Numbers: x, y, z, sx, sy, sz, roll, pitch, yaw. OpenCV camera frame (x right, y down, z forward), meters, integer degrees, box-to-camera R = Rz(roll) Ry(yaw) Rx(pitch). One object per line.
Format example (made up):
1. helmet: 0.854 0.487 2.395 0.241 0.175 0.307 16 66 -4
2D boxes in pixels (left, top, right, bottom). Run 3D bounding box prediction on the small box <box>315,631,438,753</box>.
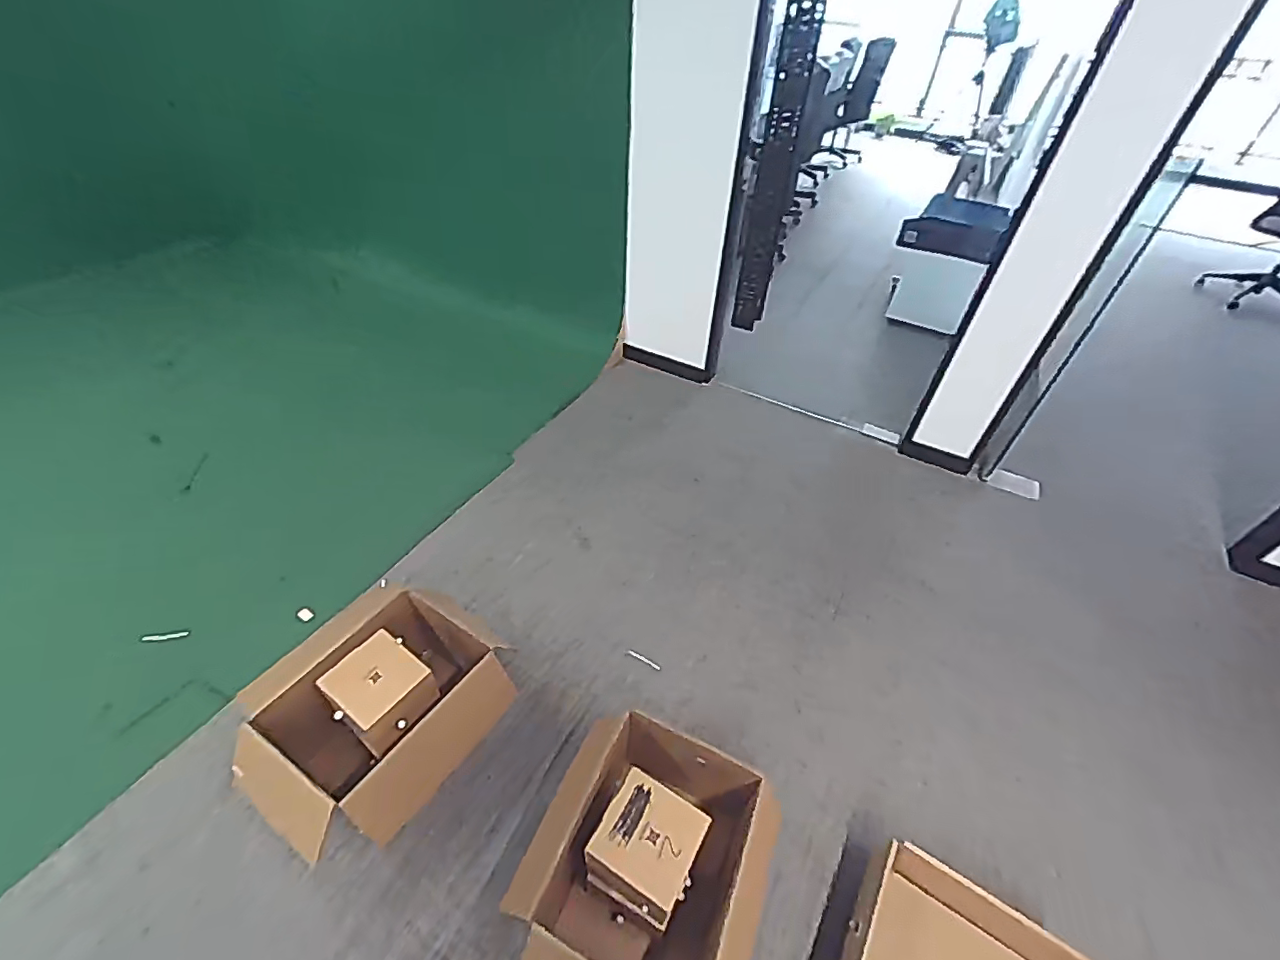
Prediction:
1. small box: -0.586 0.487 1.225 0.179 0.176 0.168 28 47 22
